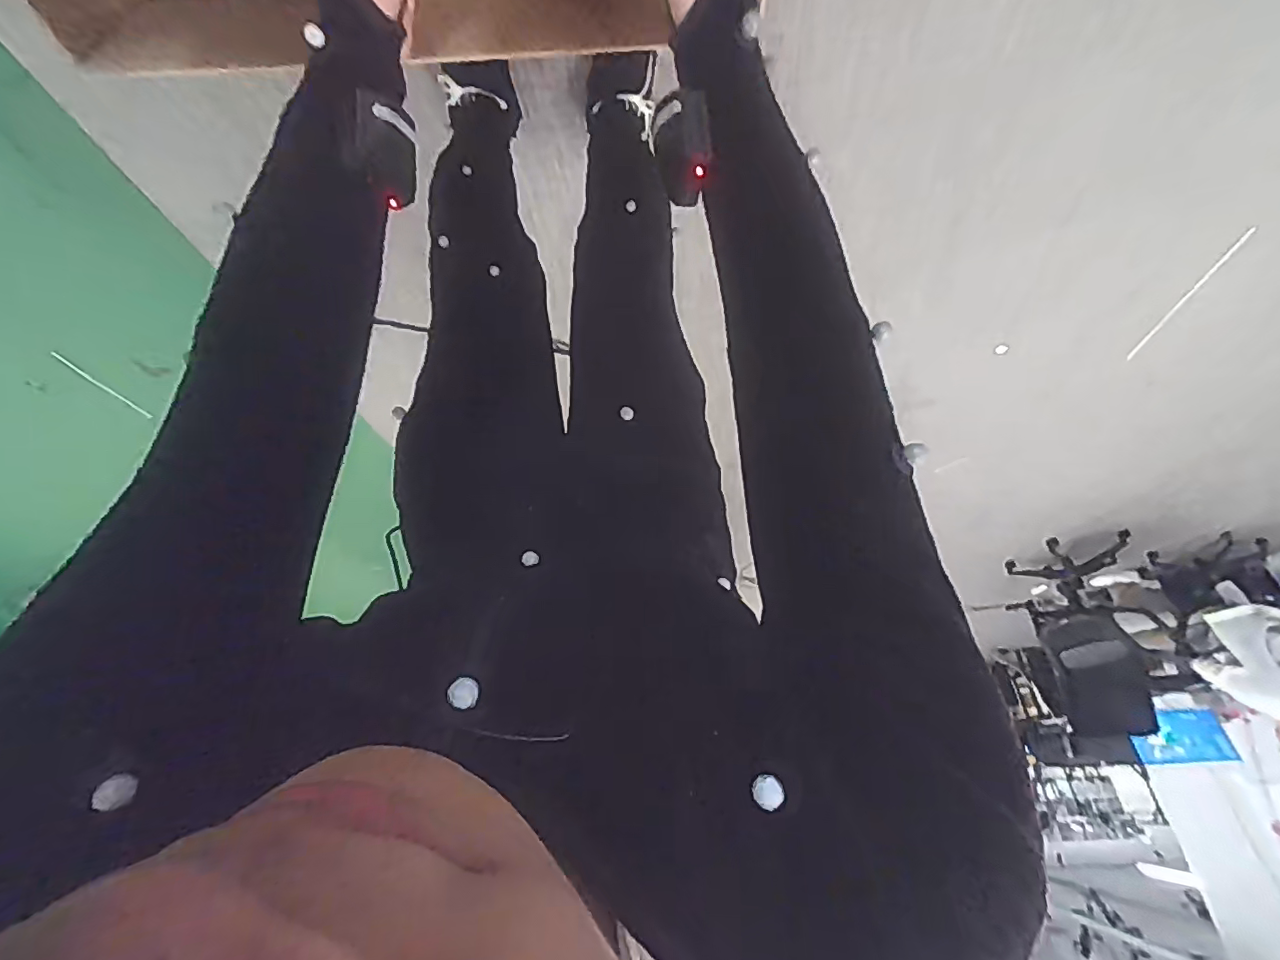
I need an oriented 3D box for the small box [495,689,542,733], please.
[{"bbox_3d":[-0.543,1.047,2.449,0.168,0.176,0.179,-6,151,4],"label":"small box"}]
